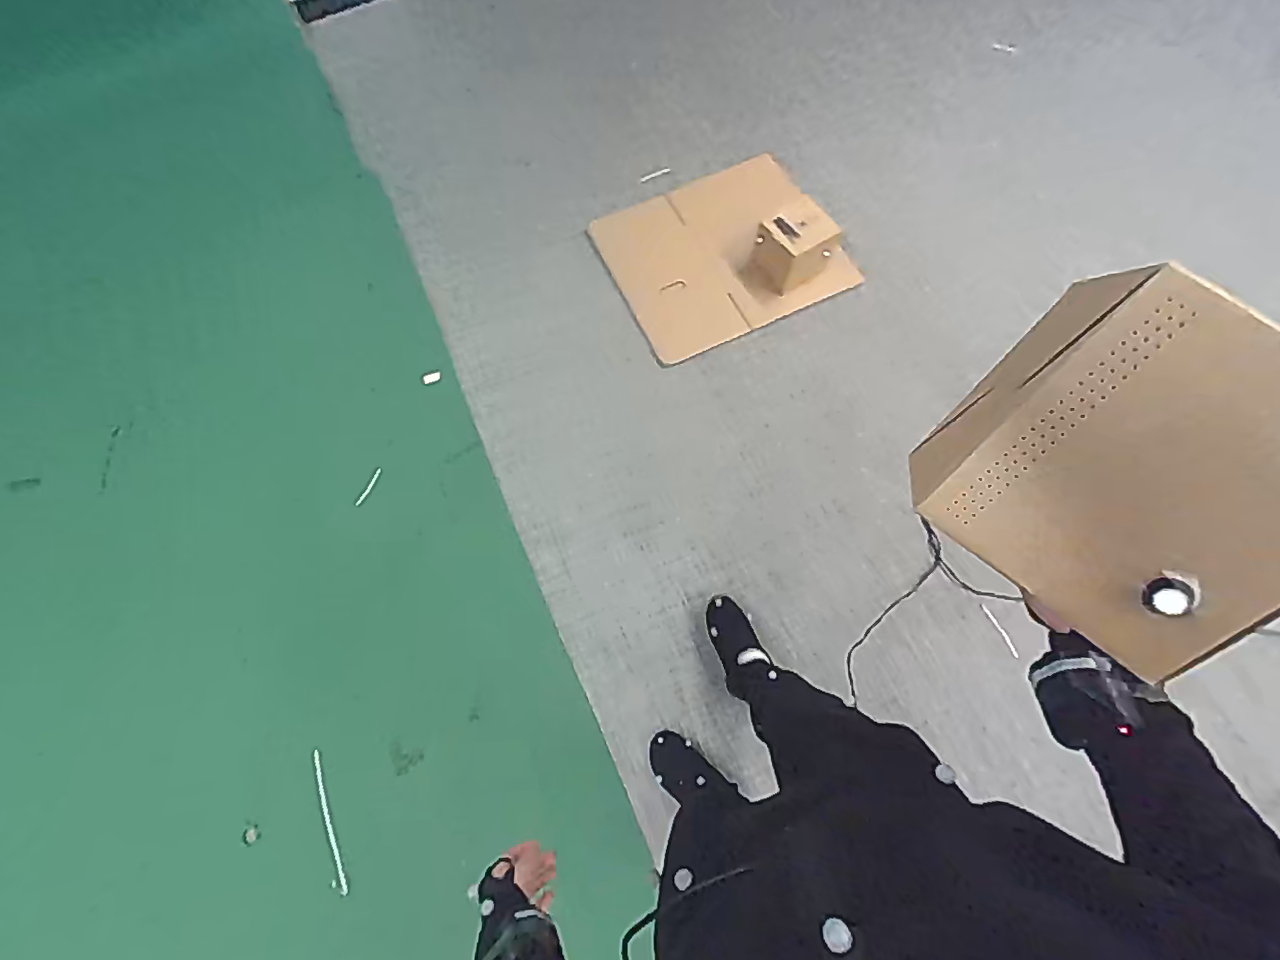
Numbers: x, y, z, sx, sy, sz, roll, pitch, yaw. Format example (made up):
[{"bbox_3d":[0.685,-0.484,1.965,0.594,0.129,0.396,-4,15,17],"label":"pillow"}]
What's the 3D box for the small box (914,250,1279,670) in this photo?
[{"bbox_3d":[0.313,-0.020,0.363,0.176,0.168,0.179,40,117,10],"label":"small box"}]
